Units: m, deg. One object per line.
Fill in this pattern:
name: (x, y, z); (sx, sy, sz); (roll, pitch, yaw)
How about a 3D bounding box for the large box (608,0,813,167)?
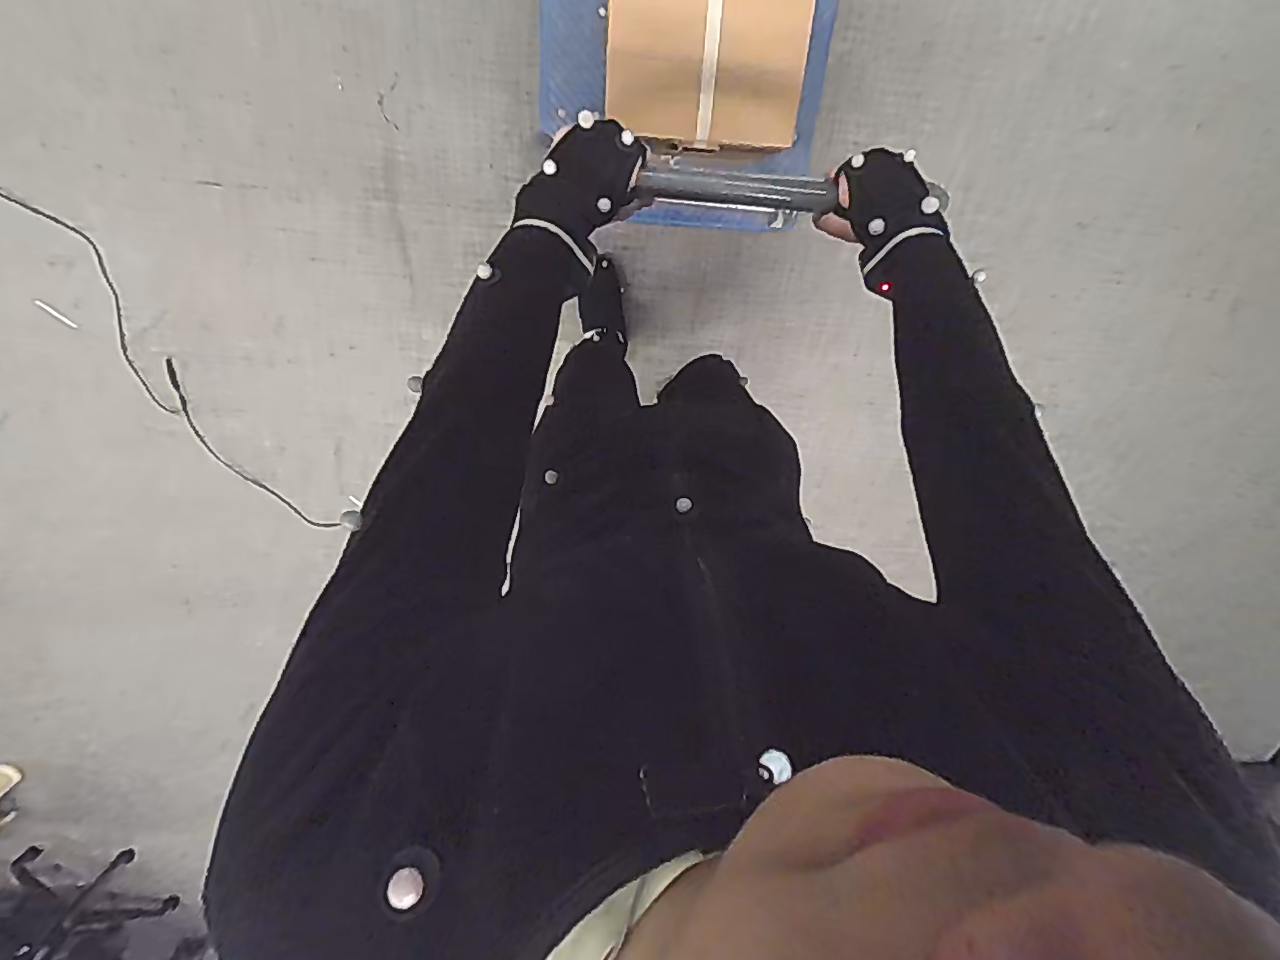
large box: (0.105, -0.794, 0.942); (0.320, 0.320, 0.408); (1, 114, -4)
